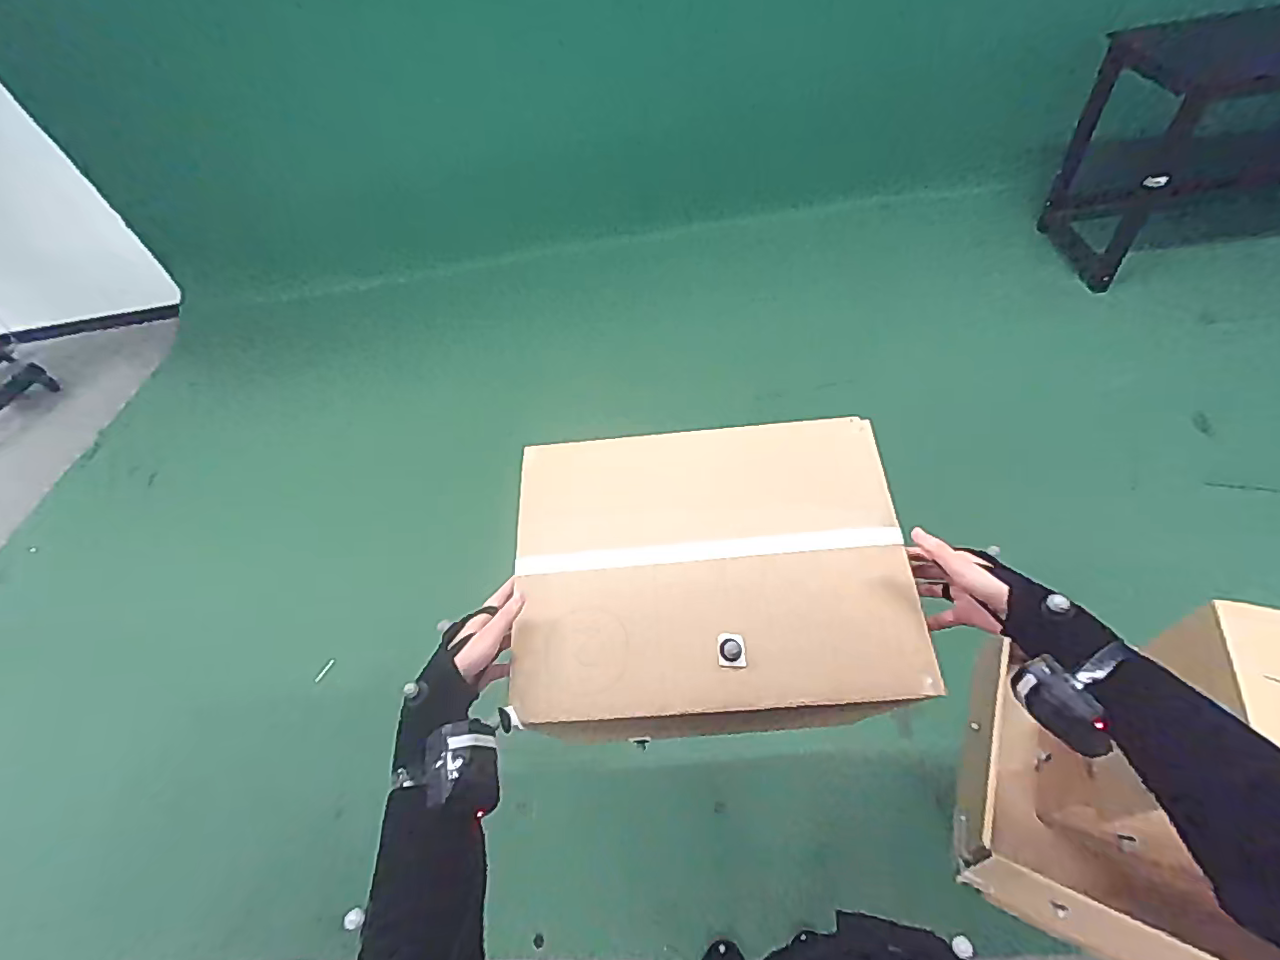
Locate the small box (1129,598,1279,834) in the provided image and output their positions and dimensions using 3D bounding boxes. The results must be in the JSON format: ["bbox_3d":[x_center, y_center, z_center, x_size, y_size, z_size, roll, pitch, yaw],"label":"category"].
[{"bbox_3d":[0.654,0.247,0.546,0.179,0.176,0.168,10,52,20],"label":"small box"}]
